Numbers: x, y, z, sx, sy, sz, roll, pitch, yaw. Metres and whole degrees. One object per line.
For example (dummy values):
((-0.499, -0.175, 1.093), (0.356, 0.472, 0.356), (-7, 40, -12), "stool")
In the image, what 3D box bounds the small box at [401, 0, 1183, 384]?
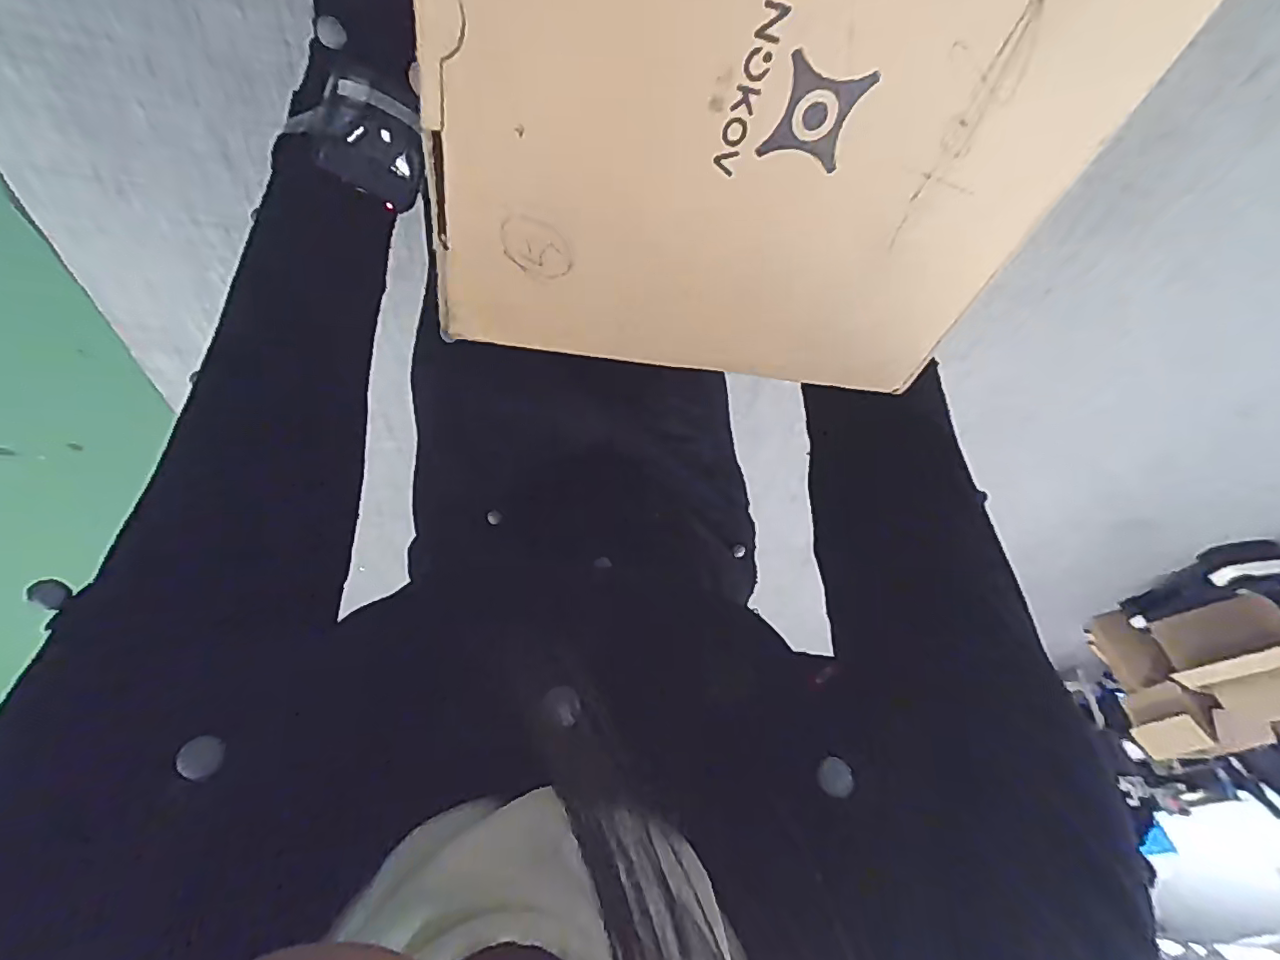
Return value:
((0.025, -0.156, 0.181), (0.179, 0.176, 0.168), (2, 143, -14), "small box")
